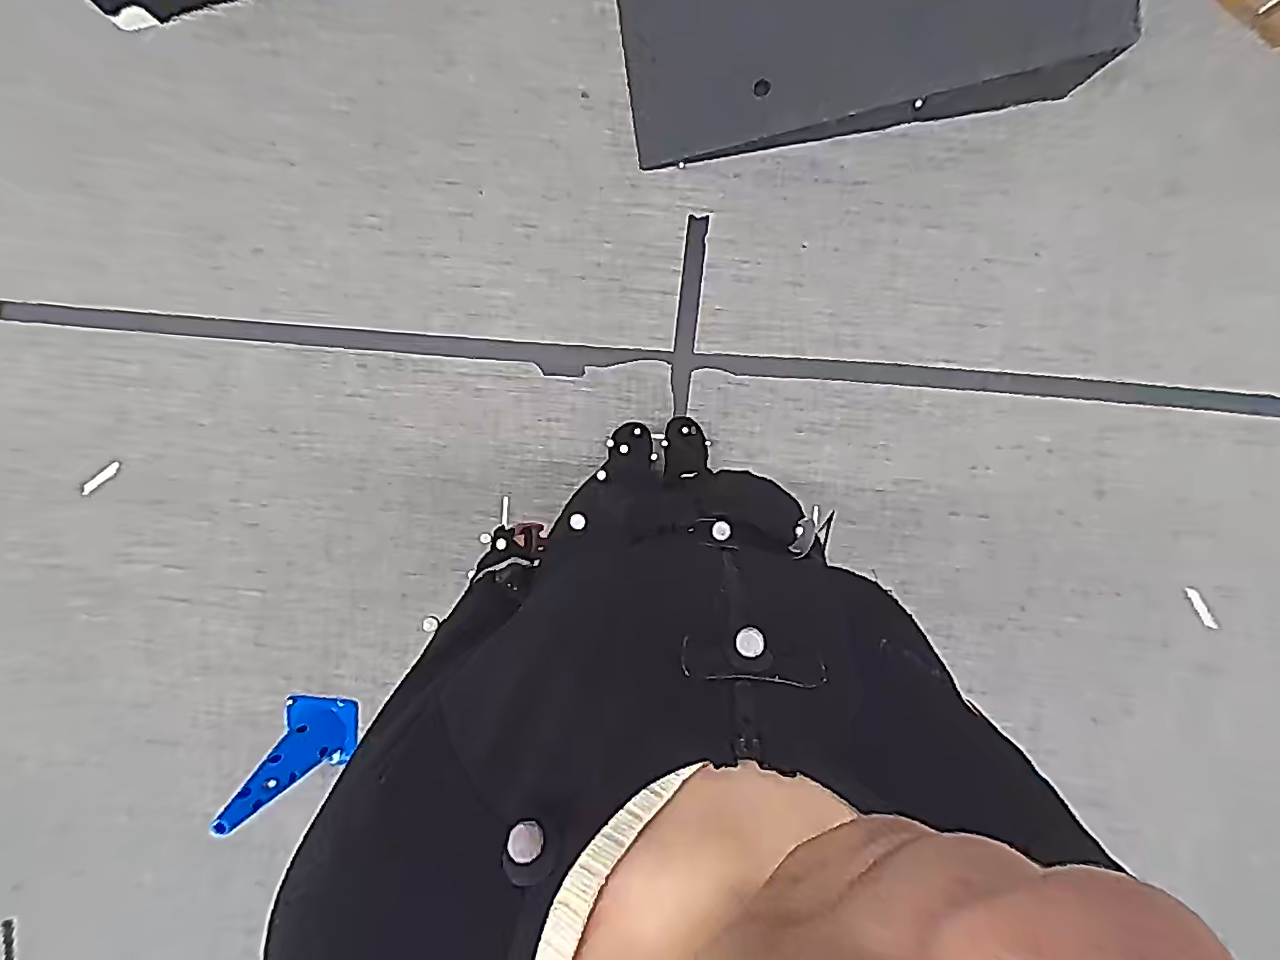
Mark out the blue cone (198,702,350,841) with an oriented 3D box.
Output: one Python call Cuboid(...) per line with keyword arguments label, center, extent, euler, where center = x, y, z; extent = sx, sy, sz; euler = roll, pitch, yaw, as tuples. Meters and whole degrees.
Cuboid(label="blue cone", center=(-0.905, 0.731, 1.334), extent=(0.192, 0.380, 0.193), euler=(6, 98, 2))
